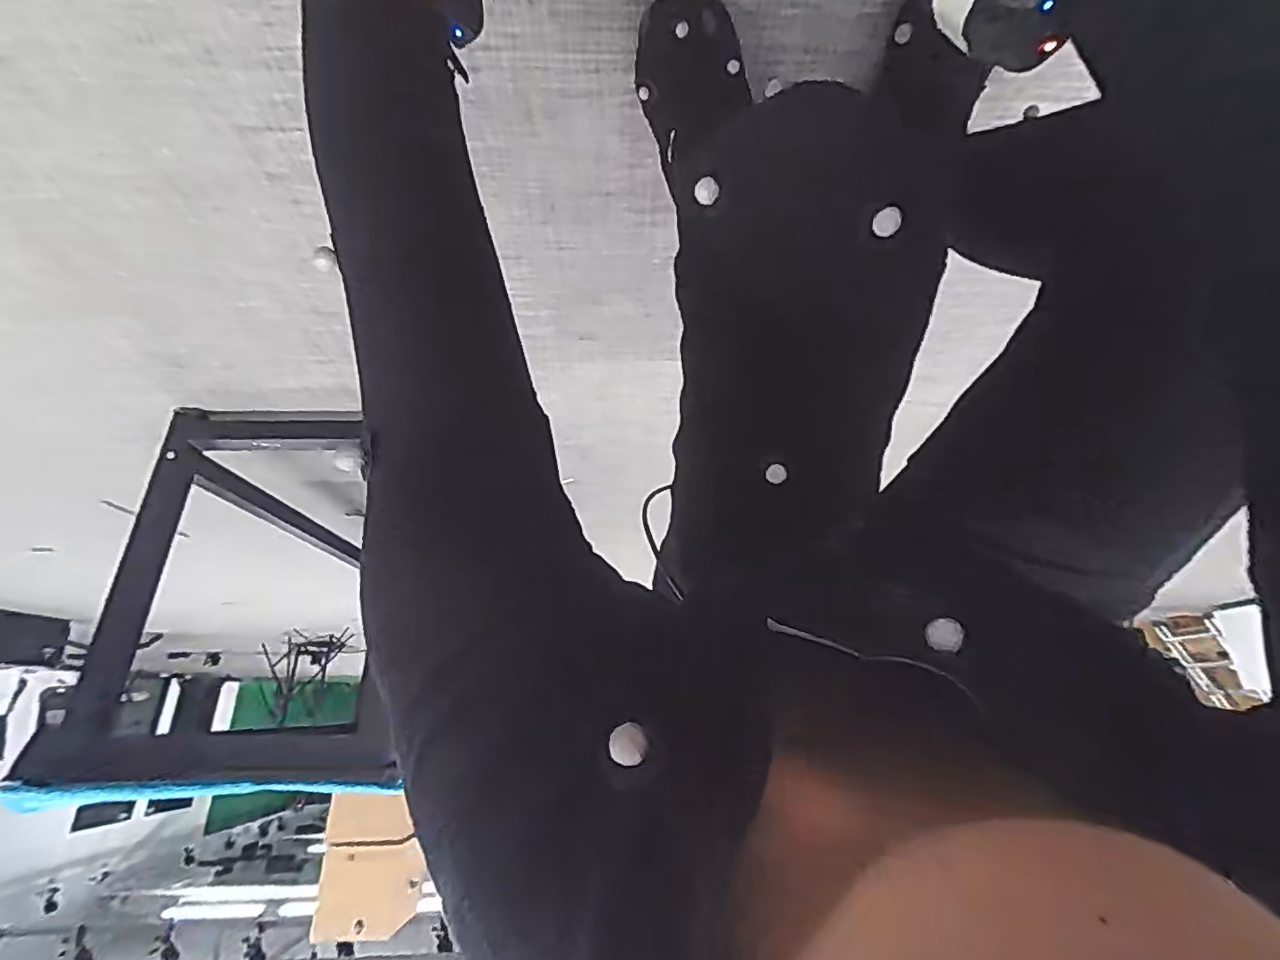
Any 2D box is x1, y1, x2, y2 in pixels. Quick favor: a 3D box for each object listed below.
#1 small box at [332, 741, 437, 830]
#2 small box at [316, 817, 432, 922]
[{"bbox_3d":[-0.605,0.730,1.307,0.168,0.176,0.179,-1,158,-1],"label":"small box"},{"bbox_3d":[-0.597,0.877,1.238,0.168,0.176,0.179,-1,157,3],"label":"small box"}]
